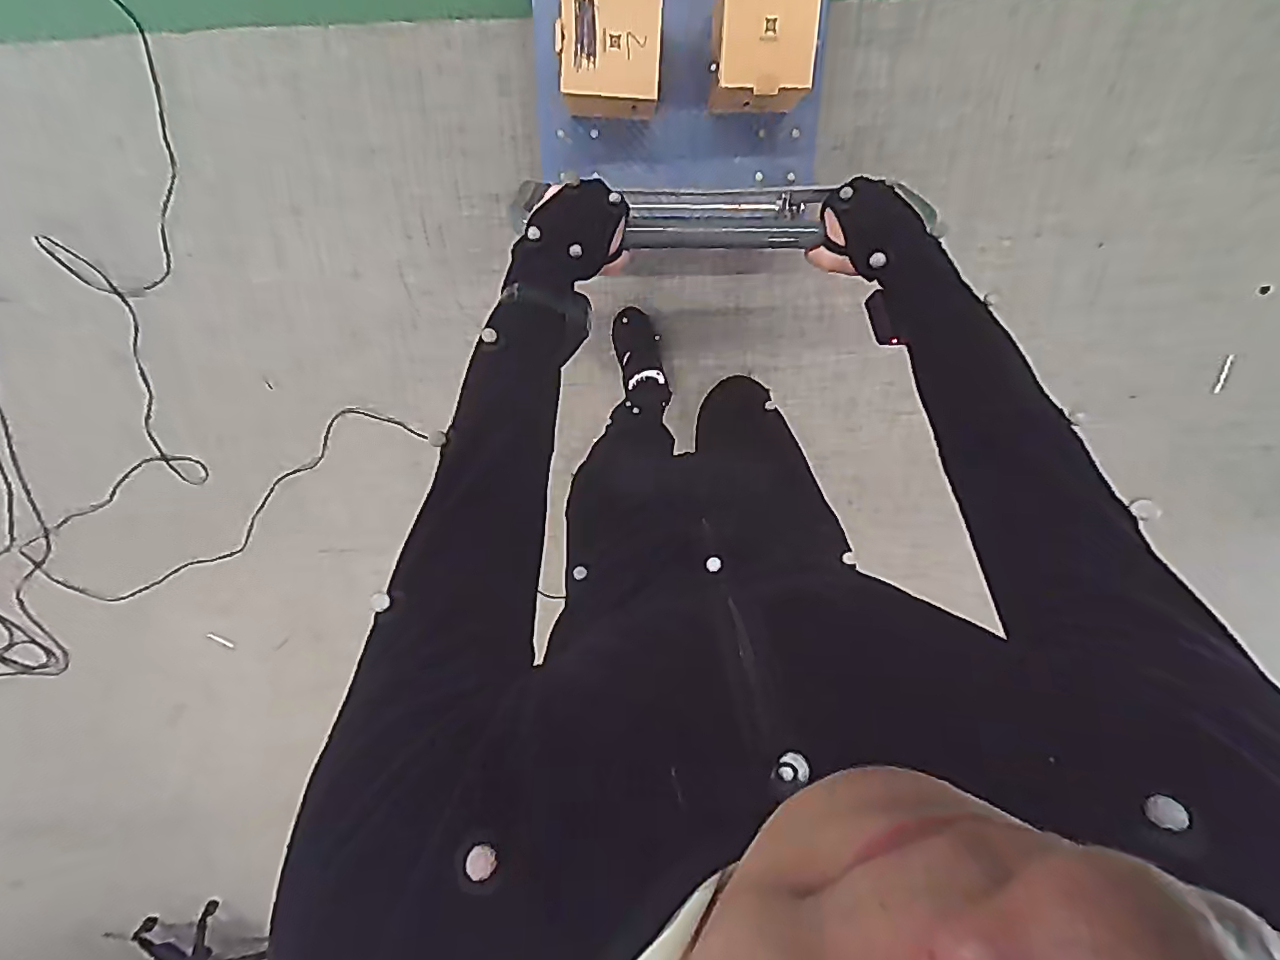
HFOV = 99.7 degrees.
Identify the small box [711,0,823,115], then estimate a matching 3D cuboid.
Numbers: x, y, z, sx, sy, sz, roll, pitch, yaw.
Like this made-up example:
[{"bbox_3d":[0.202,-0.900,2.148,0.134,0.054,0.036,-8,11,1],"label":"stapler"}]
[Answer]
[{"bbox_3d":[0.227,-0.804,1.006,0.168,0.176,0.179,0,114,-1],"label":"small box"}]
